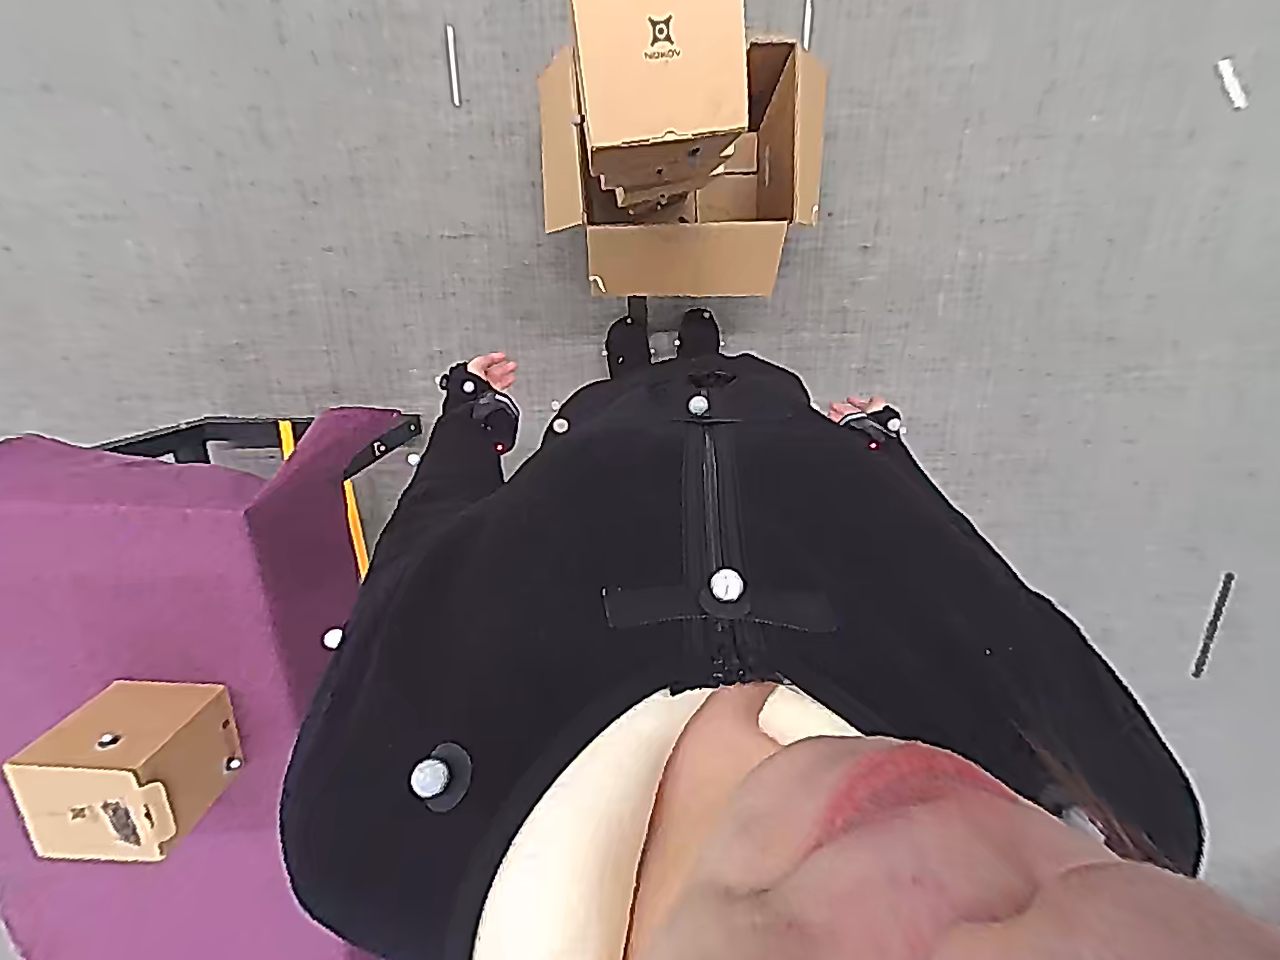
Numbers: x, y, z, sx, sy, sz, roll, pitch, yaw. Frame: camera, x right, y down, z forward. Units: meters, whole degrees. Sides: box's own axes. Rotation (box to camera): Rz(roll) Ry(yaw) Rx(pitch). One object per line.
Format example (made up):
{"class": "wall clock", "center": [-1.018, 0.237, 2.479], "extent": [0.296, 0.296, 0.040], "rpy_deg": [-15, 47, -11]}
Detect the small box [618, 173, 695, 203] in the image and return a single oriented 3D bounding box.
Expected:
{"class": "small box", "center": [0.025, -0.658, 1.044], "extent": [0.179, 0.176, 0.168], "rpy_deg": [-22, 111, 3]}

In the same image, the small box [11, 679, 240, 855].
{"class": "small box", "center": [-0.740, 0.419, 0.808], "extent": [0.179, 0.176, 0.168], "rpy_deg": [3, 108, -1]}

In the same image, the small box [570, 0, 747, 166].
{"class": "small box", "center": [0.015, -0.458, 0.592], "extent": [0.168, 0.176, 0.179], "rpy_deg": [-8, 111, -2]}

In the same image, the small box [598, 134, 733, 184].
{"class": "small box", "center": [0.020, -0.518, 0.744], "extent": [0.179, 0.176, 0.168], "rpy_deg": [-9, 112, -1]}
